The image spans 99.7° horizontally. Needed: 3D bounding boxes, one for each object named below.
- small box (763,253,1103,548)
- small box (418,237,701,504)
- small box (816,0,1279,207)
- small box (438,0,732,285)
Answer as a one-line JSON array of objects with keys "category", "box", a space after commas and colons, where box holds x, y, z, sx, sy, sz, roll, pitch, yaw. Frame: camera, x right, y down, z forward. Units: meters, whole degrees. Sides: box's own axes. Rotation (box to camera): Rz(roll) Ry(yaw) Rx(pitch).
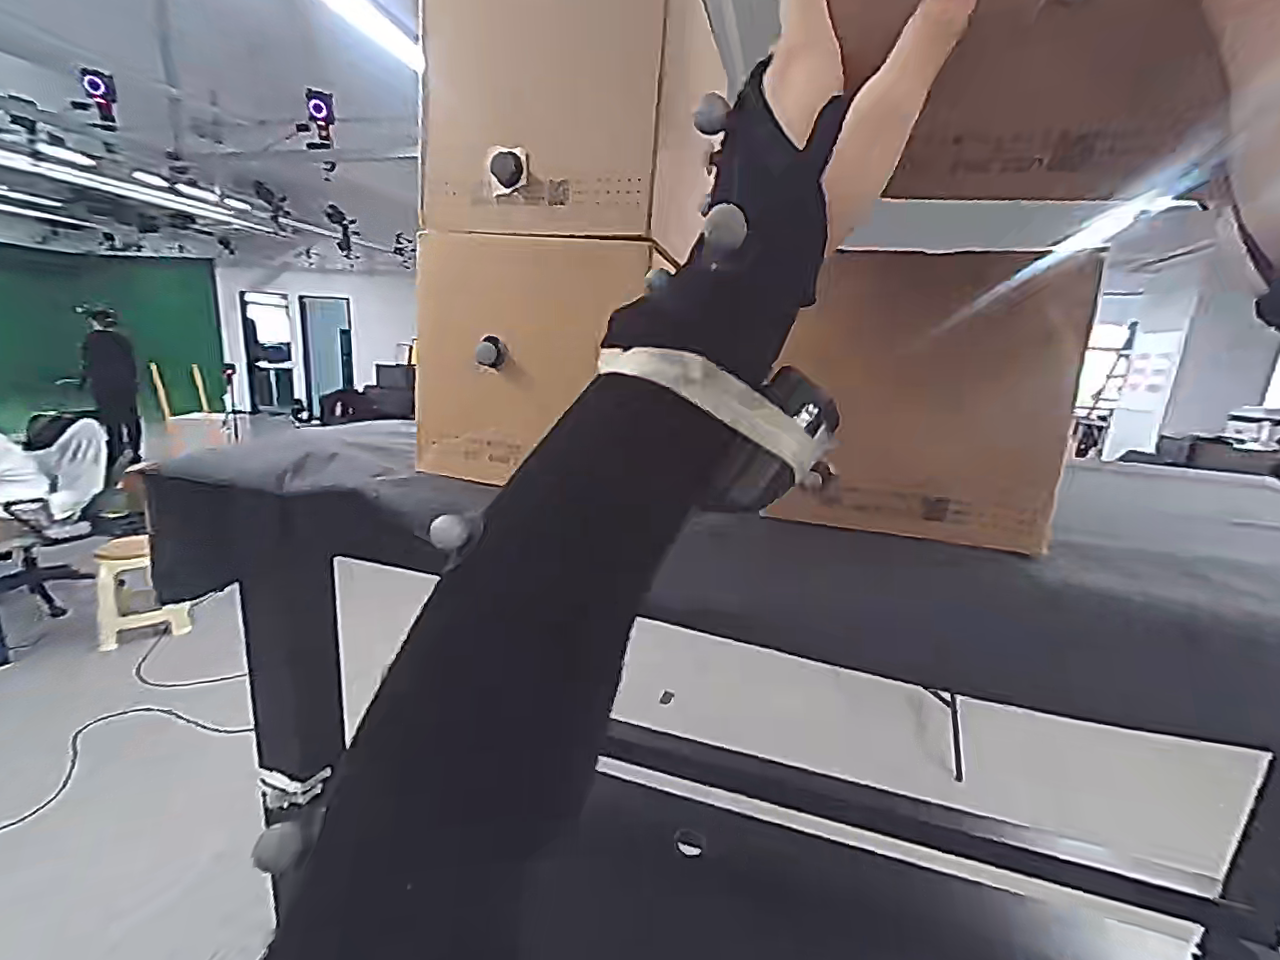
[{"category": "small box", "box": [0.187, -0.058, 0.396, 0.168, 0.176, 0.179, 8, 11, 17]}, {"category": "small box", "box": [-0.053, -0.084, 0.435, 0.168, 0.176, 0.179, 9, 11, 14]}, {"category": "small box", "box": [0.179, -0.239, 0.241, 0.168, 0.176, 0.179, 10, 49, 16]}, {"category": "small box", "box": [-0.034, -0.242, 0.403, 0.168, 0.176, 0.179, 8, 12, 16]}]
